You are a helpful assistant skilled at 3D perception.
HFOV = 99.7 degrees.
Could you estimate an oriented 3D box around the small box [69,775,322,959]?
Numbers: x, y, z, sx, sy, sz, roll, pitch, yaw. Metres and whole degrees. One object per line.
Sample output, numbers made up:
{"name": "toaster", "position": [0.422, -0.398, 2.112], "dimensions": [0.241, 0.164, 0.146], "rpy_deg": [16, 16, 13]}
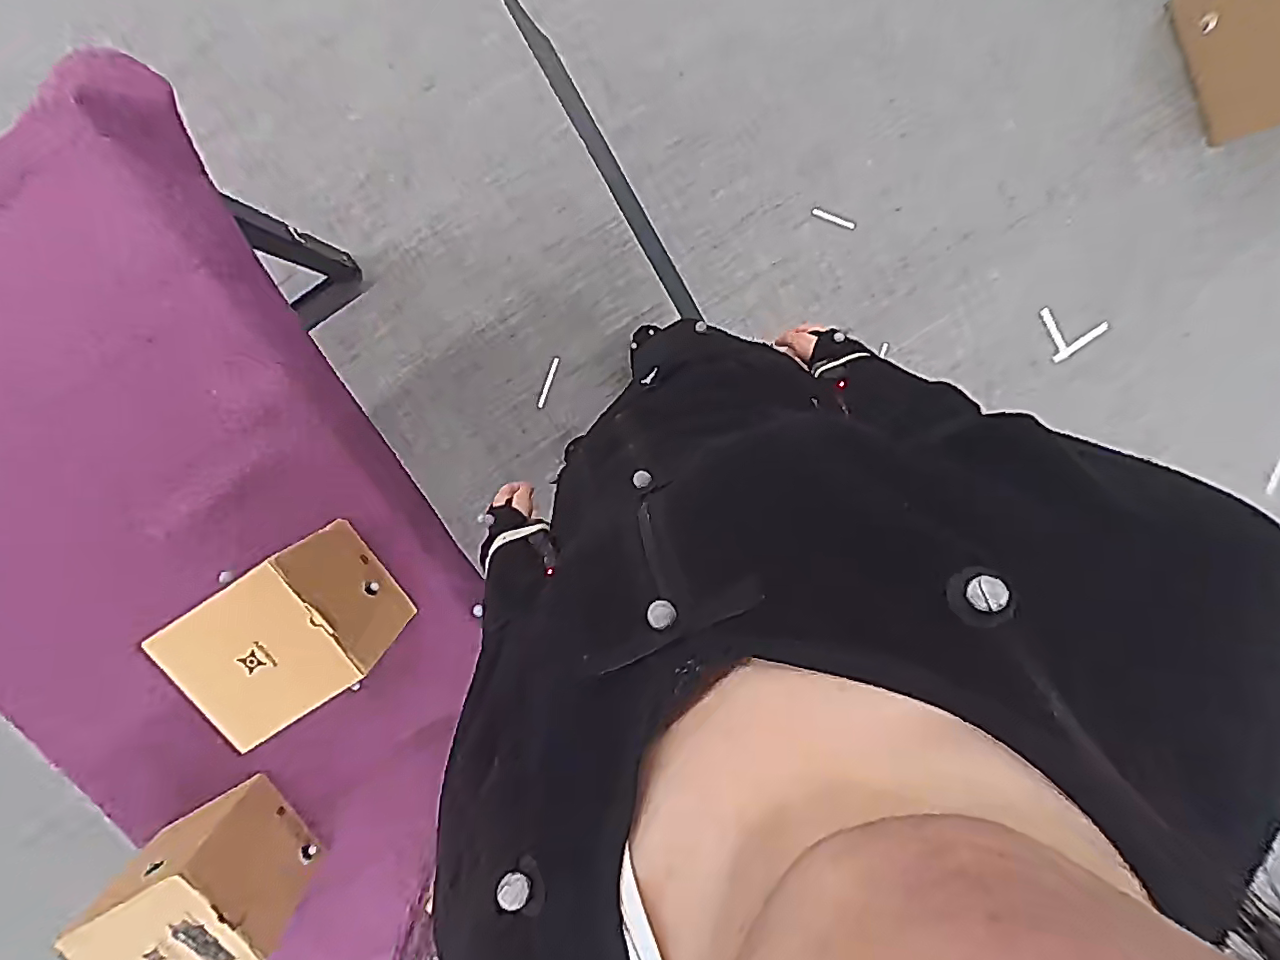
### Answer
{"name": "small box", "position": [-0.572, 0.548, 0.733], "dimensions": [0.179, 0.176, 0.168], "rpy_deg": [-30, 101, 1]}

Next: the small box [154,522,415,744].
{"name": "small box", "position": [-0.422, 0.178, 0.678], "dimensions": [0.179, 0.176, 0.168], "rpy_deg": [-33, 101, 3]}
